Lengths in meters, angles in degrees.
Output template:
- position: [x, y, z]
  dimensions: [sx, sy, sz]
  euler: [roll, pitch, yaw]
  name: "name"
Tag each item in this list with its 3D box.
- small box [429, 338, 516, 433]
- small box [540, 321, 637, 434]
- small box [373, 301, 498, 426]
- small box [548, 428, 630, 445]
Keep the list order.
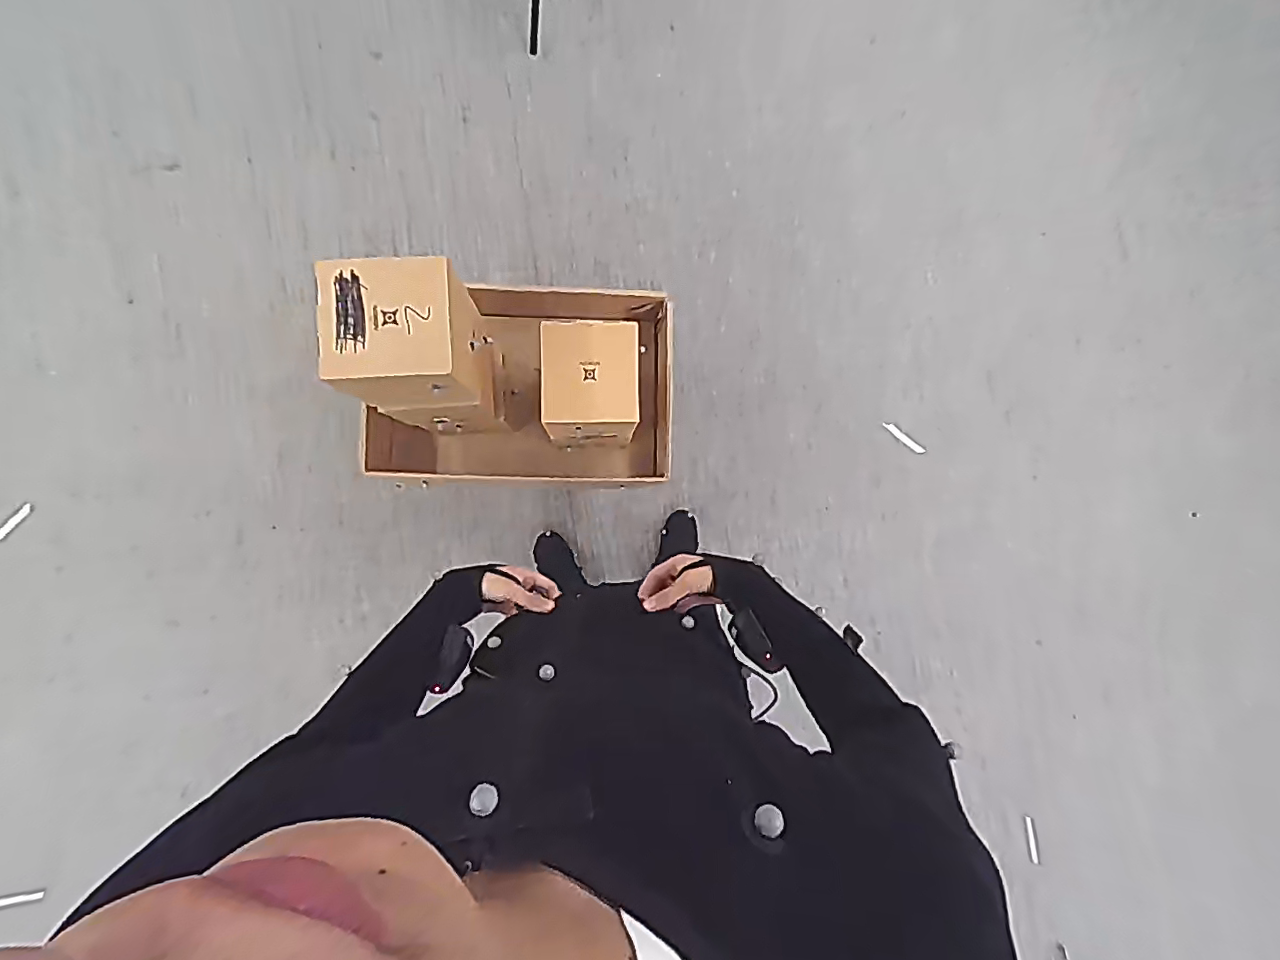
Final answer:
- position: [-0.360, -0.191, 1.130]
  dimensions: [0.179, 0.176, 0.168]
  euler: [-2, 87, -5]
  name: "small box"
- position: [-0.091, -0.178, 0.989]
  dimensions: [0.168, 0.176, 0.179]
  euler: [-1, 86, -5]
  name: "small box"
- position: [-0.356, -0.201, 0.966]
  dimensions: [0.168, 0.176, 0.179]
  euler: [-5, 87, -3]
  name: "small box"
- position: [-0.106, -0.168, 1.151]
  dimensions: [0.168, 0.176, 0.179]
  euler: [-2, 87, -5]
  name: "small box"
